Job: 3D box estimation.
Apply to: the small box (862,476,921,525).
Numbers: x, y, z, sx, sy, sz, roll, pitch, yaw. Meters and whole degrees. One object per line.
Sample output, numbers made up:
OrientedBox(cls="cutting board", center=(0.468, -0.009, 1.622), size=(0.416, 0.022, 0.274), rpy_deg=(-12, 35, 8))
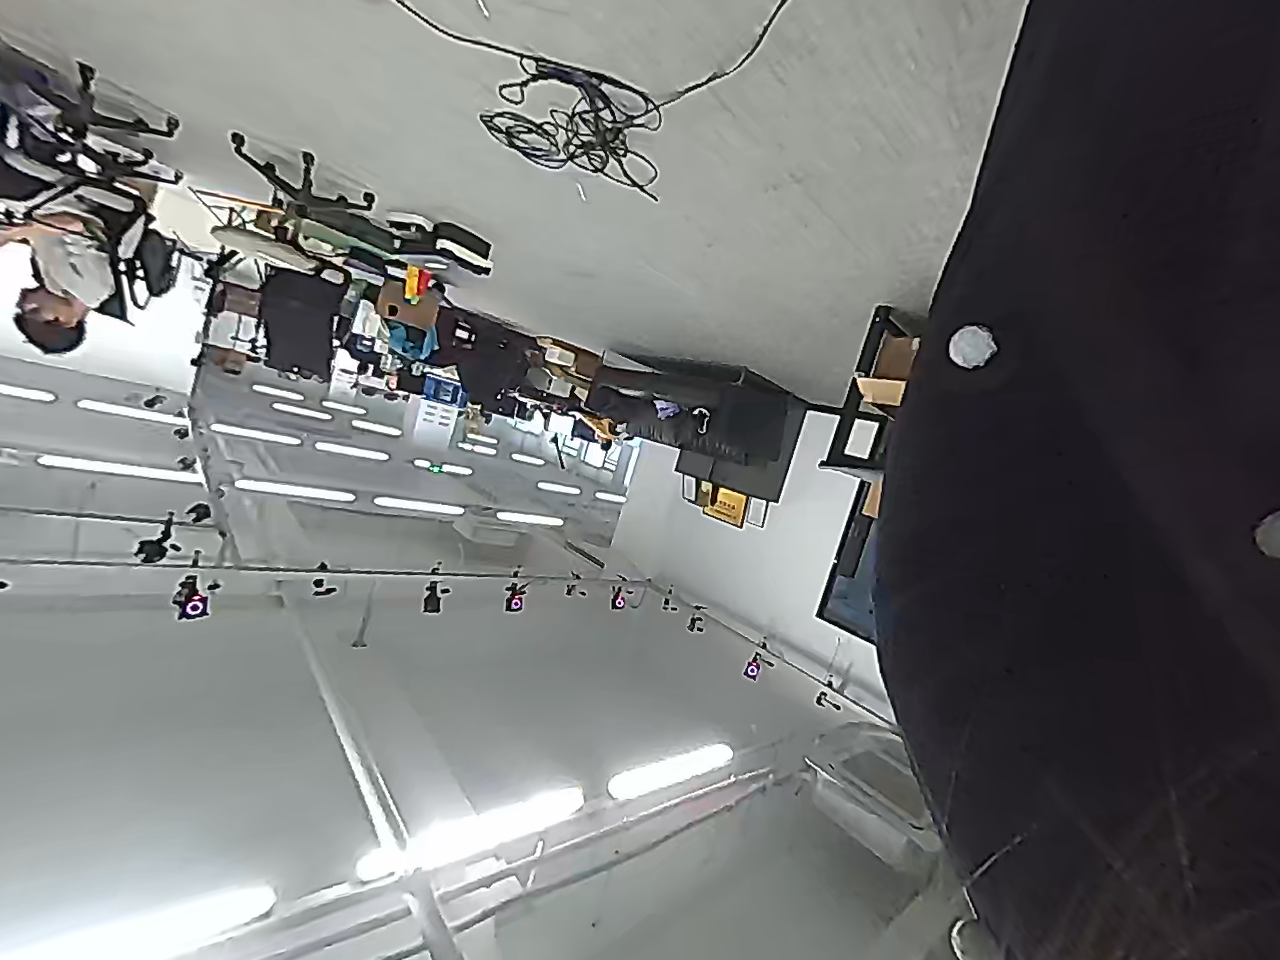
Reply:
OrientedBox(cls="small box", center=(1.130, 0.089, 2.422), size=(0.179, 0.176, 0.168), rpy_deg=(13, -174, -44))
